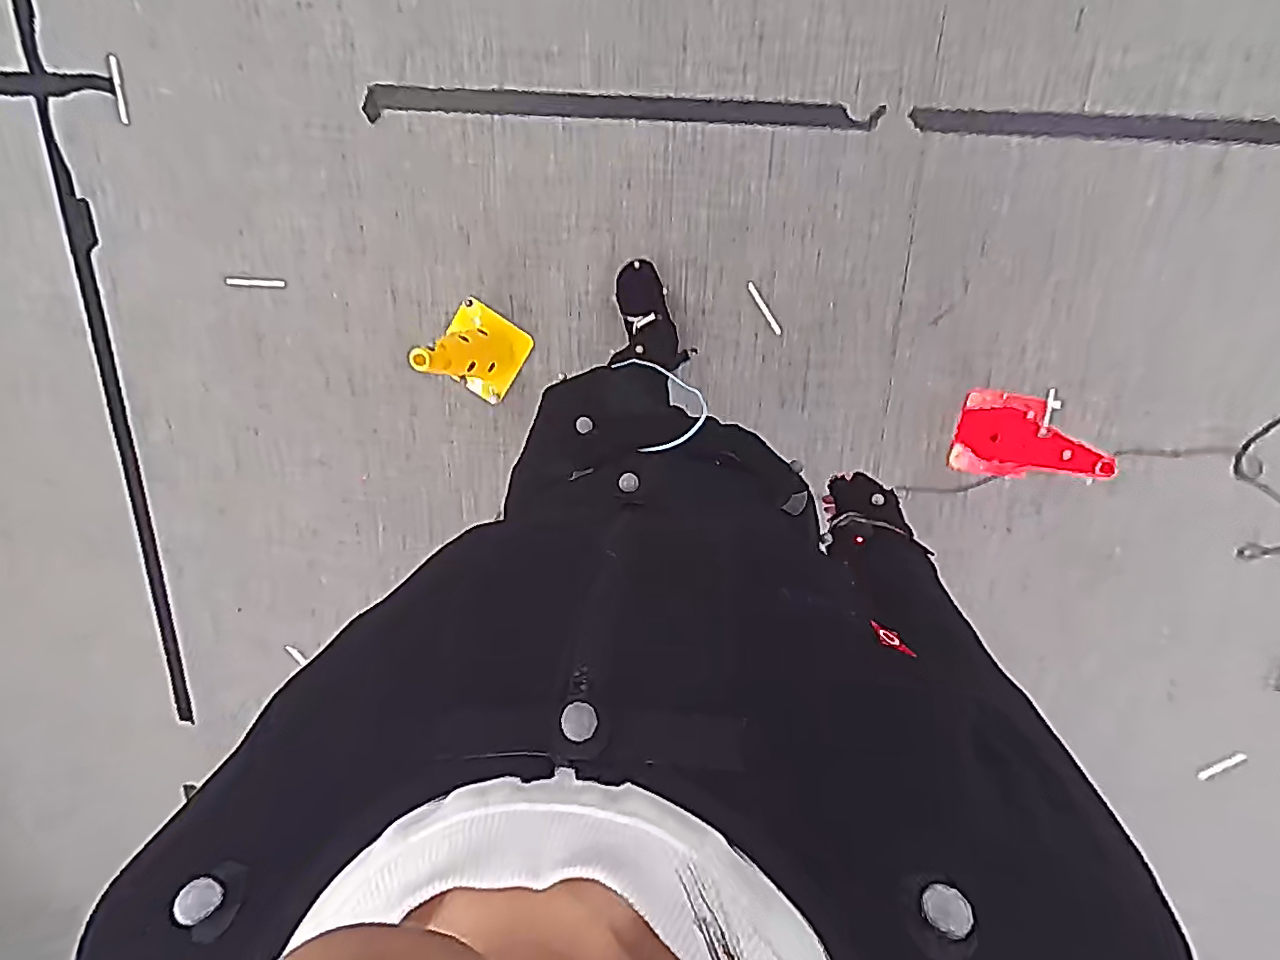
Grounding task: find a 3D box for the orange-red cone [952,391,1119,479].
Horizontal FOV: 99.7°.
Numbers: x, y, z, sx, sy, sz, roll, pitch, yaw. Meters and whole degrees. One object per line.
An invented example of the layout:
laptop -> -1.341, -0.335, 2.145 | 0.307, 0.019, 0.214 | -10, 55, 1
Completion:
orange-red cone -> 0.879, -0.067, 1.170 | 0.199, 0.360, 0.198 | 11, 105, 2
